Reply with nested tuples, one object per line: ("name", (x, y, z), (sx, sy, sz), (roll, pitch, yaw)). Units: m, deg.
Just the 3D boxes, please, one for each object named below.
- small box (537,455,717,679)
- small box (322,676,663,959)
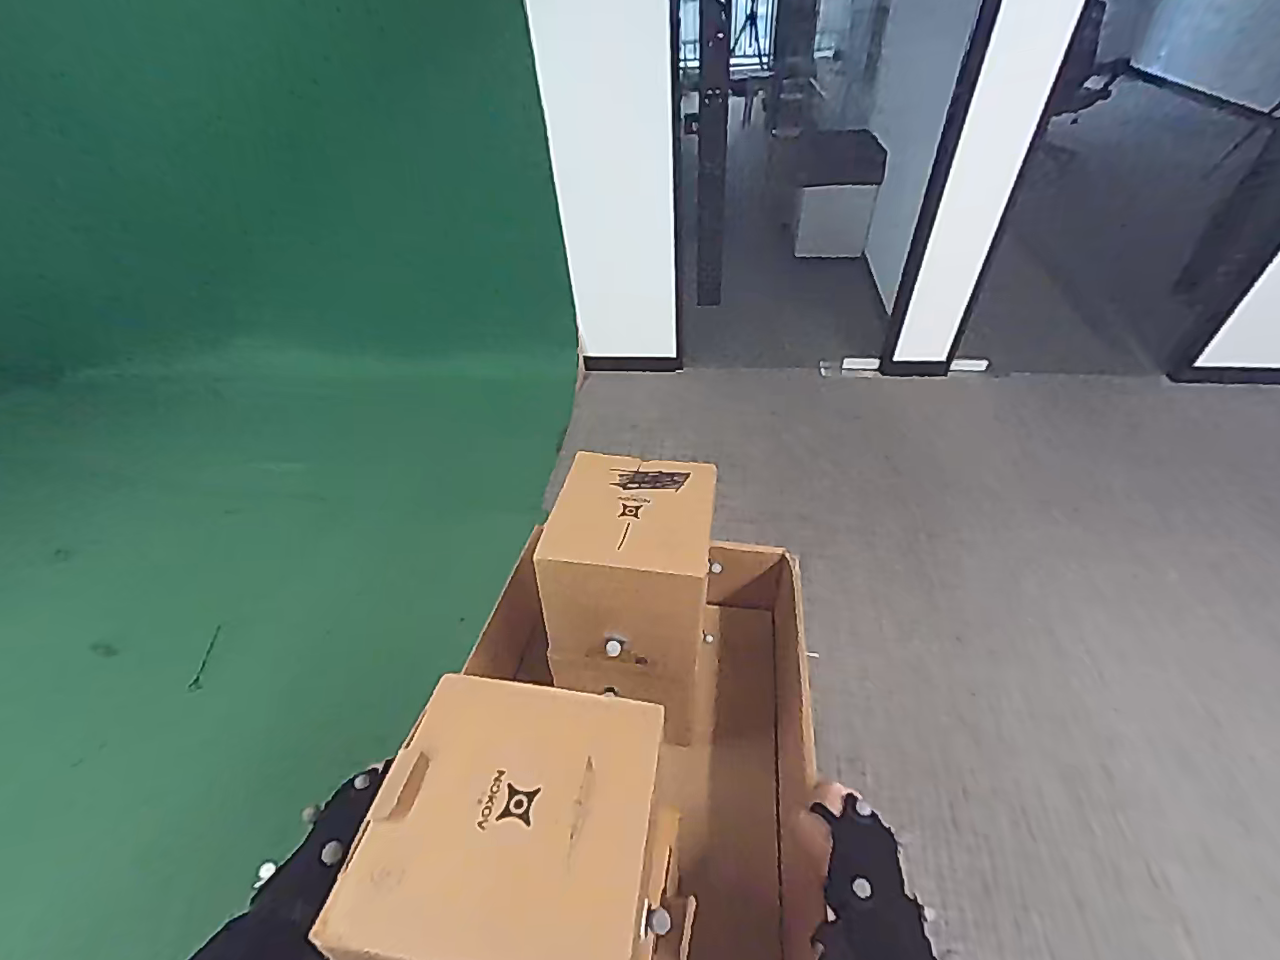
("small box", (-0.006, 0.095, 0.620), (0.168, 0.176, 0.179), (6, 40, 8))
("small box", (-0.081, 0.274, 0.399), (0.179, 0.176, 0.168), (6, 38, 7))
